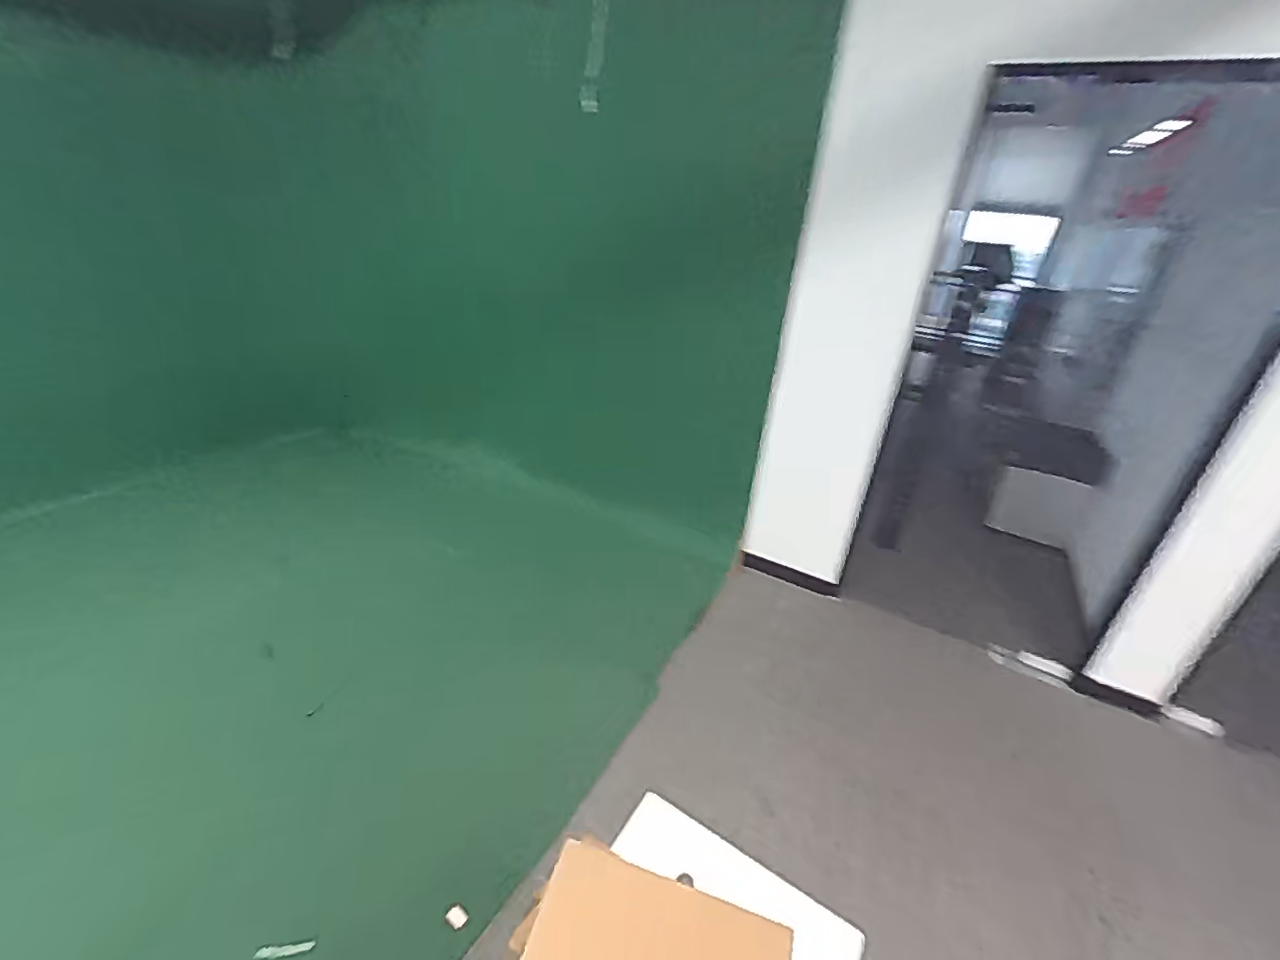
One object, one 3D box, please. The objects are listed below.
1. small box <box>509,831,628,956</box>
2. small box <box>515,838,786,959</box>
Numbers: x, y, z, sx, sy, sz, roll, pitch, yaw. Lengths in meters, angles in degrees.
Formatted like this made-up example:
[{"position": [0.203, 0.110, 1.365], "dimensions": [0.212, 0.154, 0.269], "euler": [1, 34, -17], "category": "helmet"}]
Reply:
[{"position": [-0.056, 0.636, 0.725], "dimensions": [0.179, 0.176, 0.168], "euler": [21, 31, 26], "category": "small box"}, {"position": [-0.006, 0.404, 0.388], "dimensions": [0.179, 0.176, 0.168], "euler": [13, 39, 11], "category": "small box"}]
